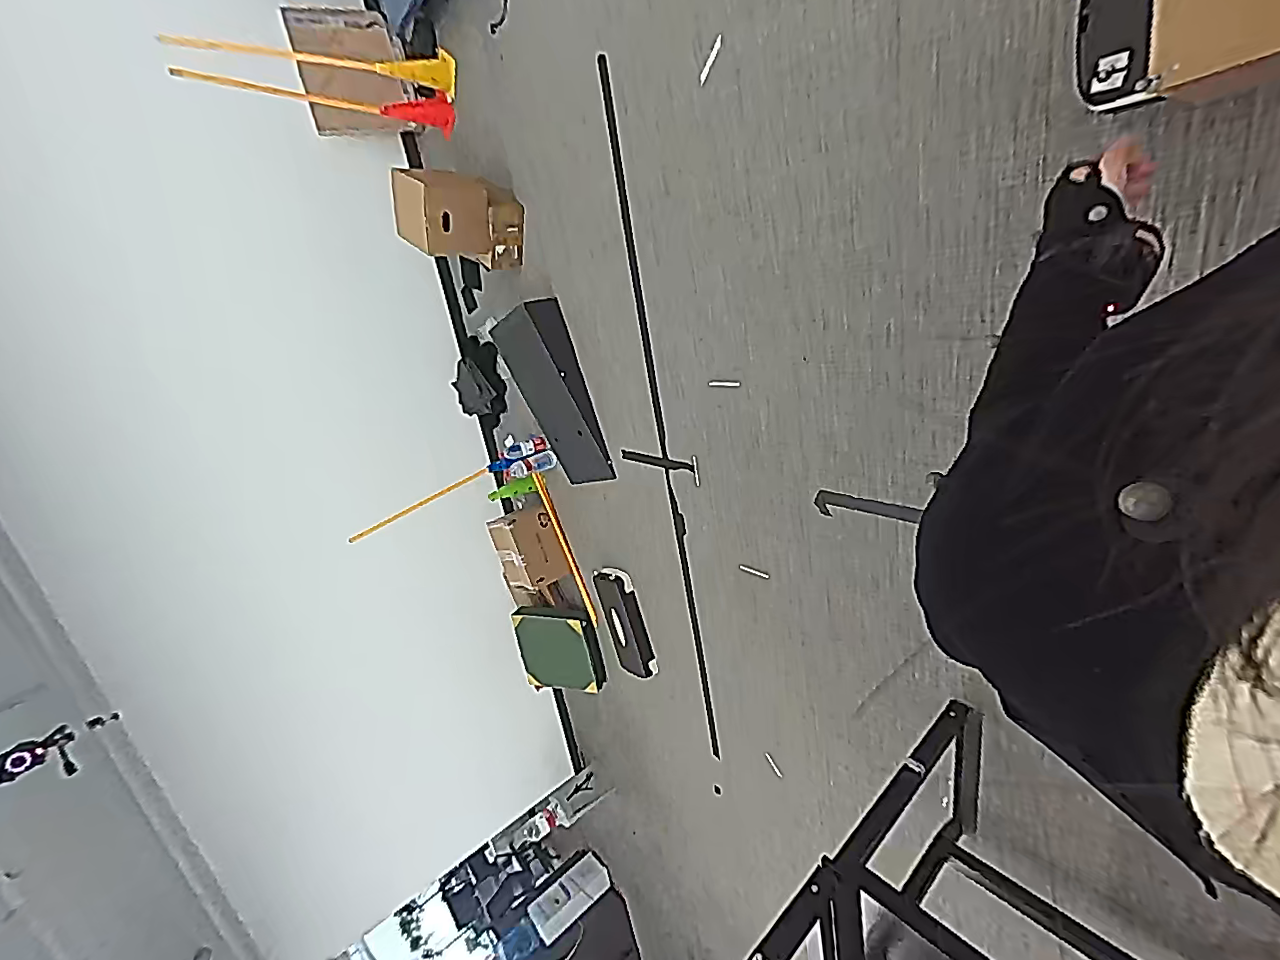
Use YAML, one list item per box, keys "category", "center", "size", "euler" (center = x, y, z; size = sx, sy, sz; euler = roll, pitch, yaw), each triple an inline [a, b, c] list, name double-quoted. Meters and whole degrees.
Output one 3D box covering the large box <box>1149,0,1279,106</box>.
- category: "large box"
  center: [0.851, -0.654, 0.567]
  size: [0.408, 0.320, 0.320]
  euler: [11, 117, 52]
